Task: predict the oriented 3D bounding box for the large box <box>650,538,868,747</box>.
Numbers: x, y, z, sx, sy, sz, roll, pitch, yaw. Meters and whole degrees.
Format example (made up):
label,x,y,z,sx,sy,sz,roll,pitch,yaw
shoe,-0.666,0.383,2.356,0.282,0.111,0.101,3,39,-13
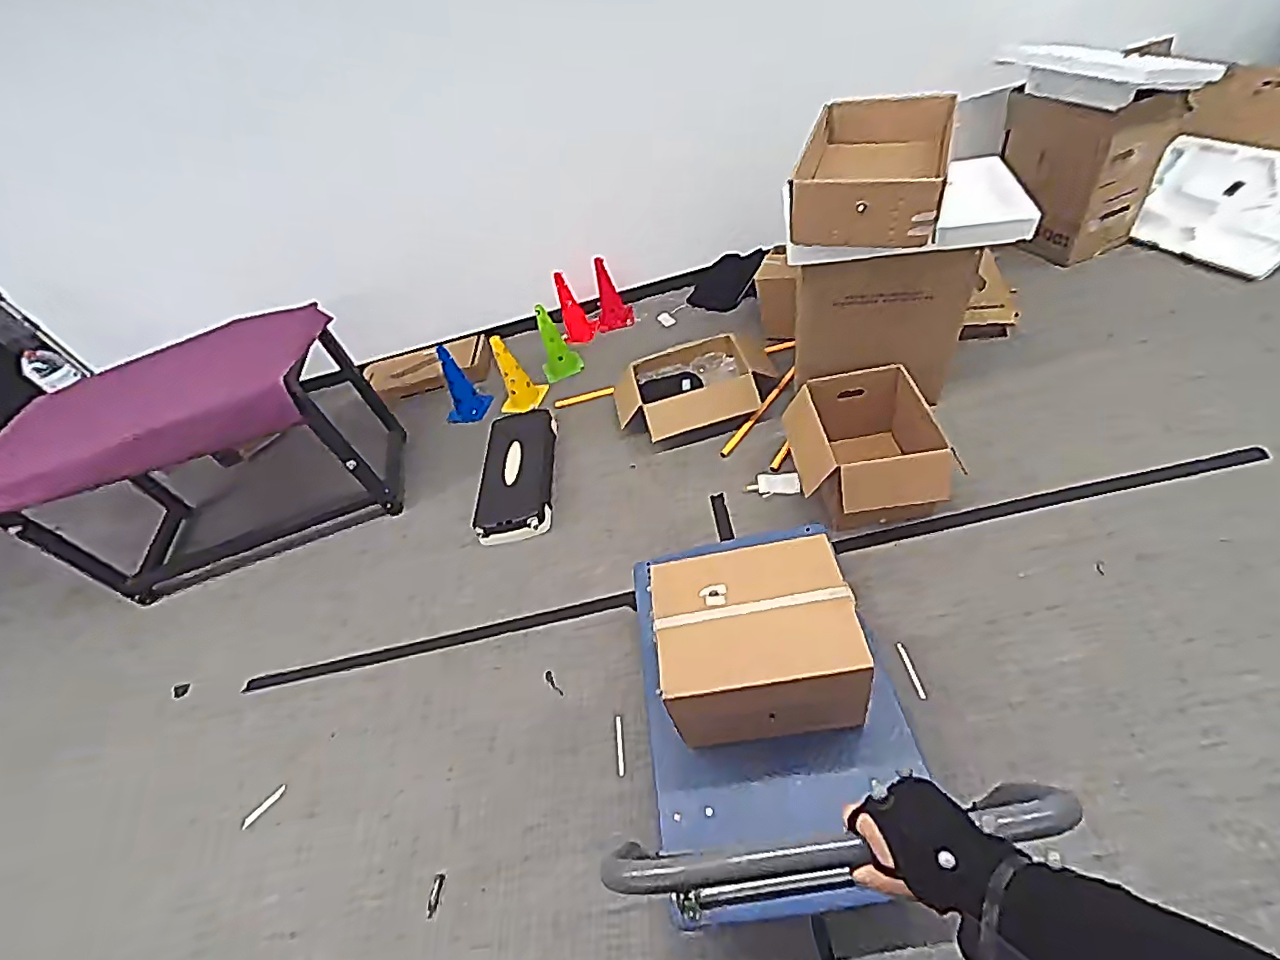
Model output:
label,x,y,z,sx,sy,sz,roll,pitch,yaw
large box,0.262,0.380,1.241,0.408,0.320,0.320,-12,45,7
